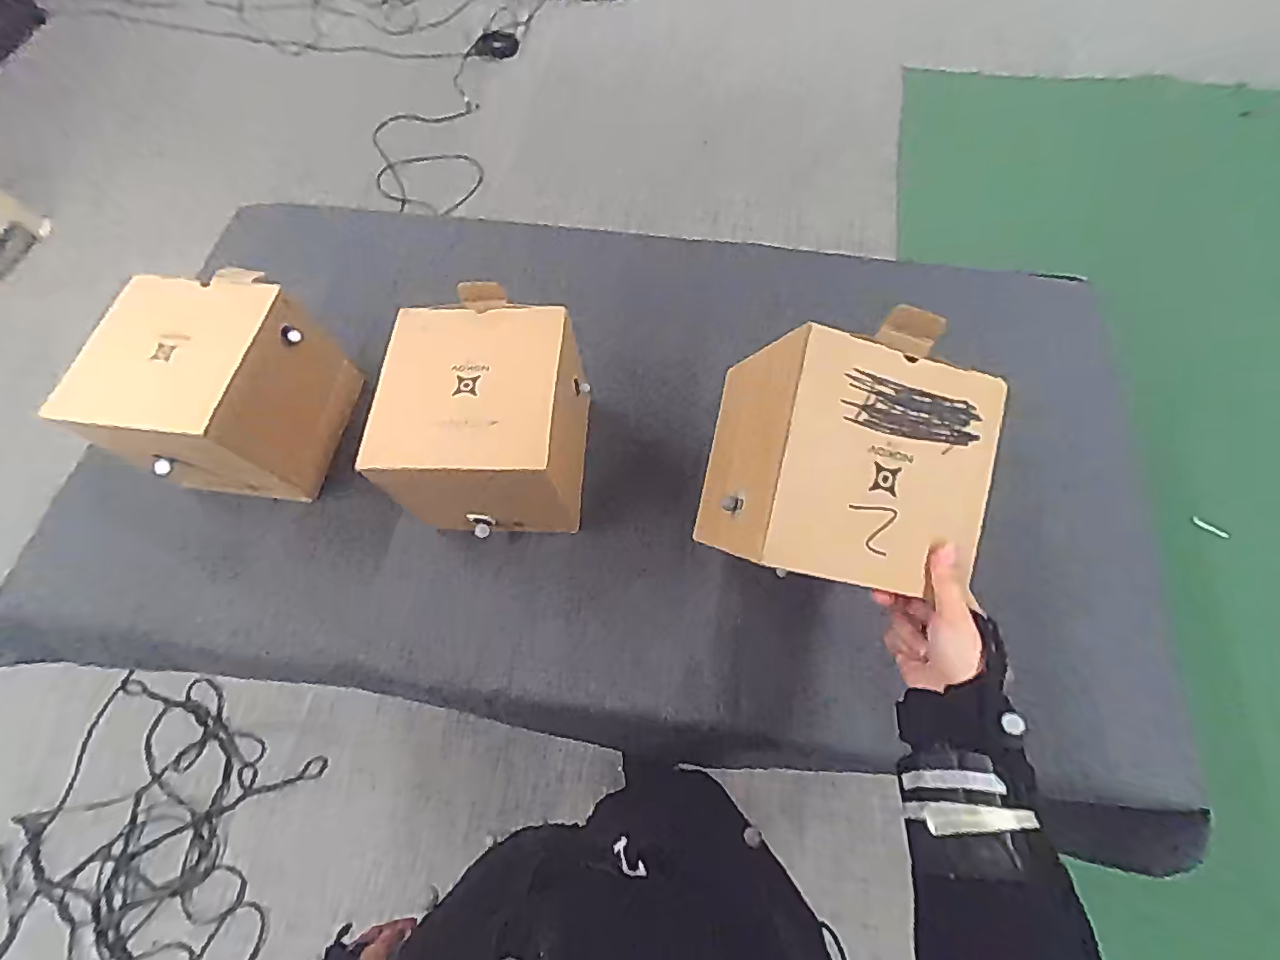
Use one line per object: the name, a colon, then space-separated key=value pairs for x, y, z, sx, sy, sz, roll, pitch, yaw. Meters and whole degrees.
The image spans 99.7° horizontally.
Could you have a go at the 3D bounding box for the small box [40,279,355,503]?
small box: x=-0.445 y=-0.087 z=0.584 sx=0.168 sy=0.176 sz=0.179 roll=6 pitch=64 yaw=5

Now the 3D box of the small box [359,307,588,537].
small box: x=-0.149 y=-0.052 z=0.555 sx=0.168 sy=0.176 sz=0.179 roll=-1 pitch=66 yaw=4
